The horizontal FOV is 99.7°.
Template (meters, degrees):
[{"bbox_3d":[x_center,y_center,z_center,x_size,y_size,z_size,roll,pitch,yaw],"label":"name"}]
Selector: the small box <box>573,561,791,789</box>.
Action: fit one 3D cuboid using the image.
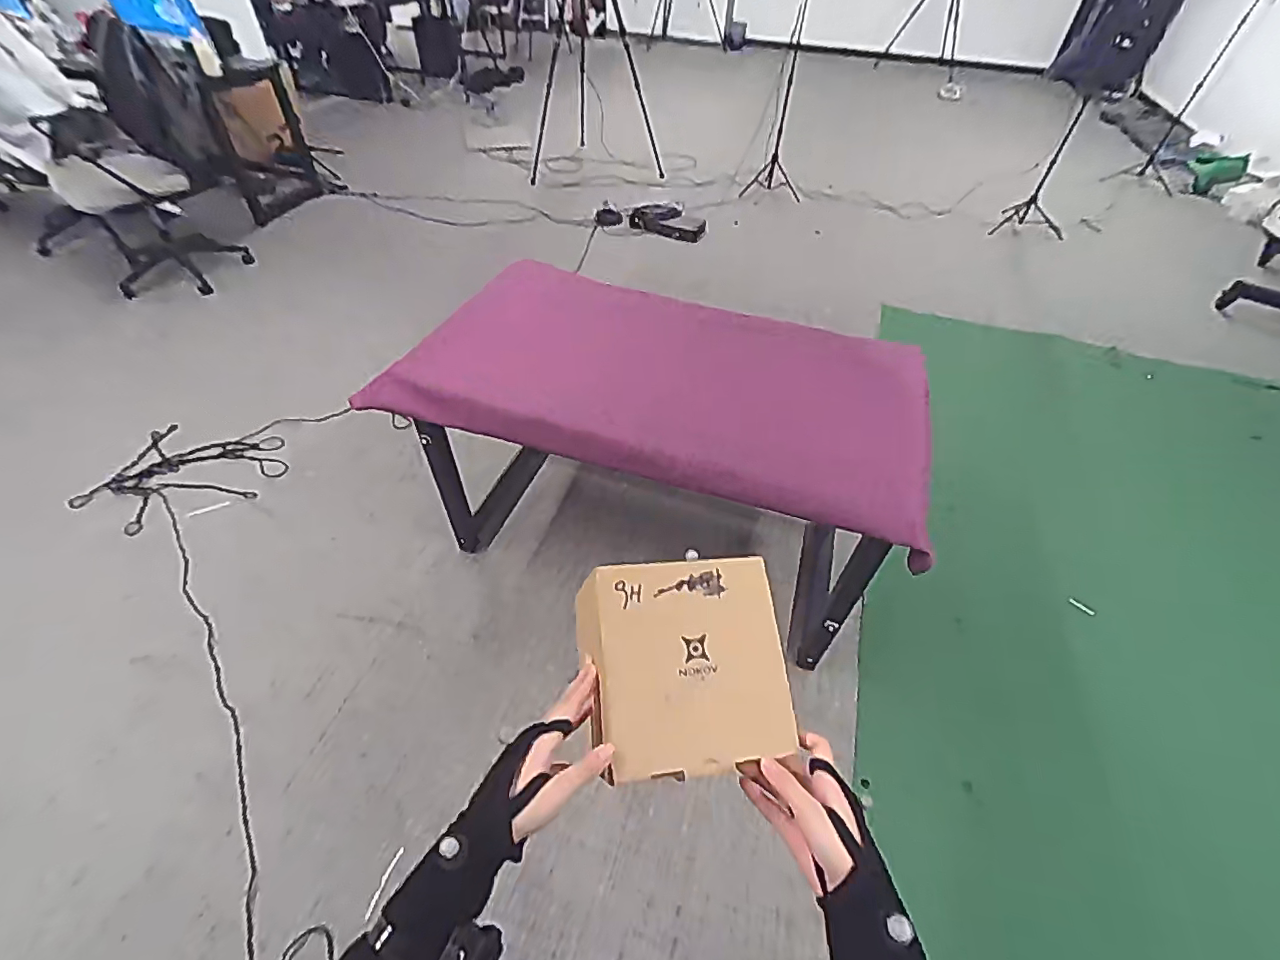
[{"bbox_3d":[0.025,0.186,0.540,0.168,0.176,0.179,-1,70,-14],"label":"small box"}]
